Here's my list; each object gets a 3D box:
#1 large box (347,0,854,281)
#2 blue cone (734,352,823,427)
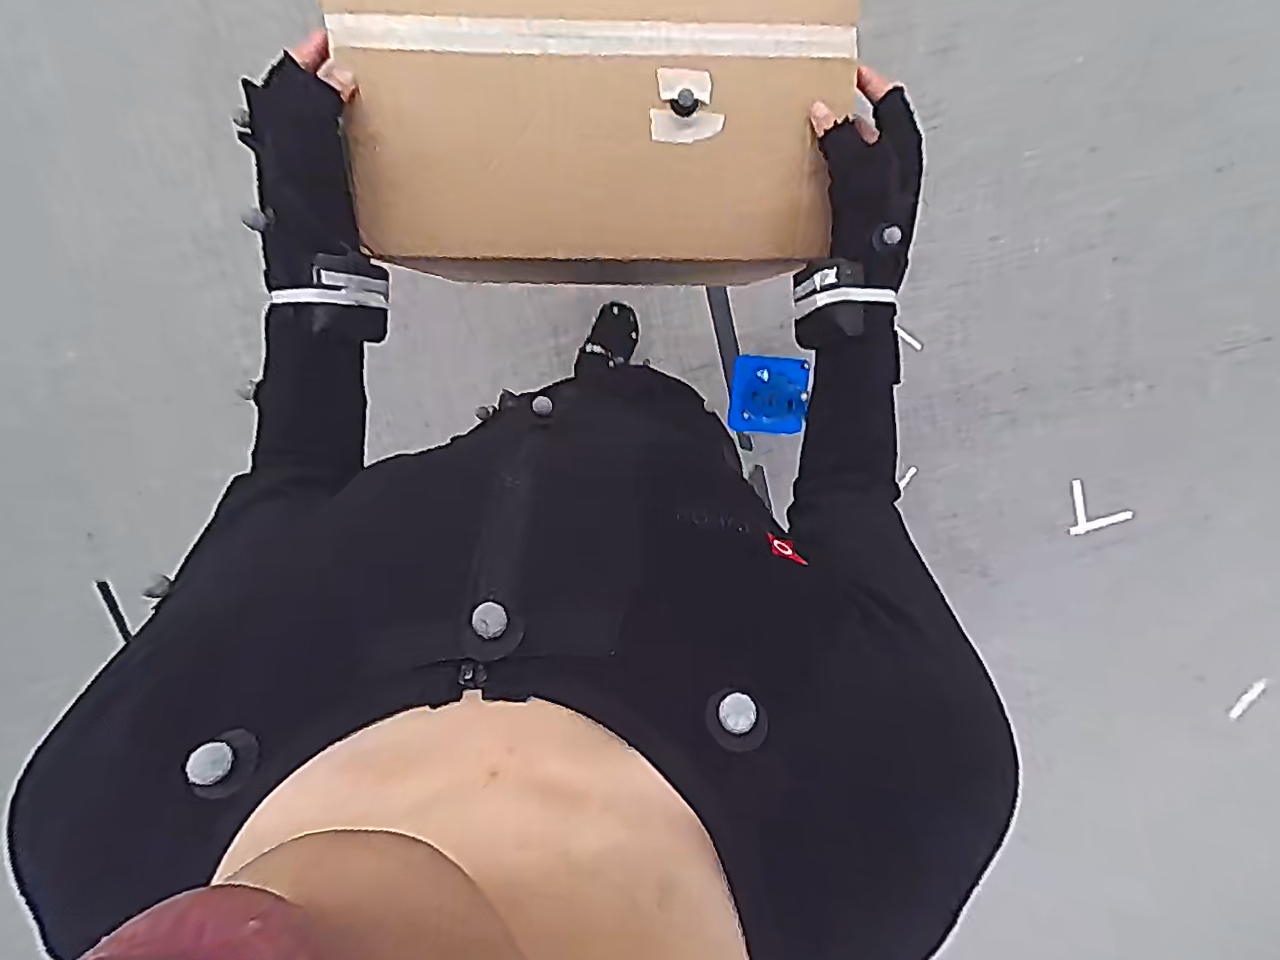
[{"bbox_3d":[-0.038,-0.390,0.571,0.408,0.320,0.320,-1,106,-3],"label":"large box"},{"bbox_3d":[0.349,-0.203,1.267,0.193,0.380,0.192,5,102,-2],"label":"blue cone"}]
